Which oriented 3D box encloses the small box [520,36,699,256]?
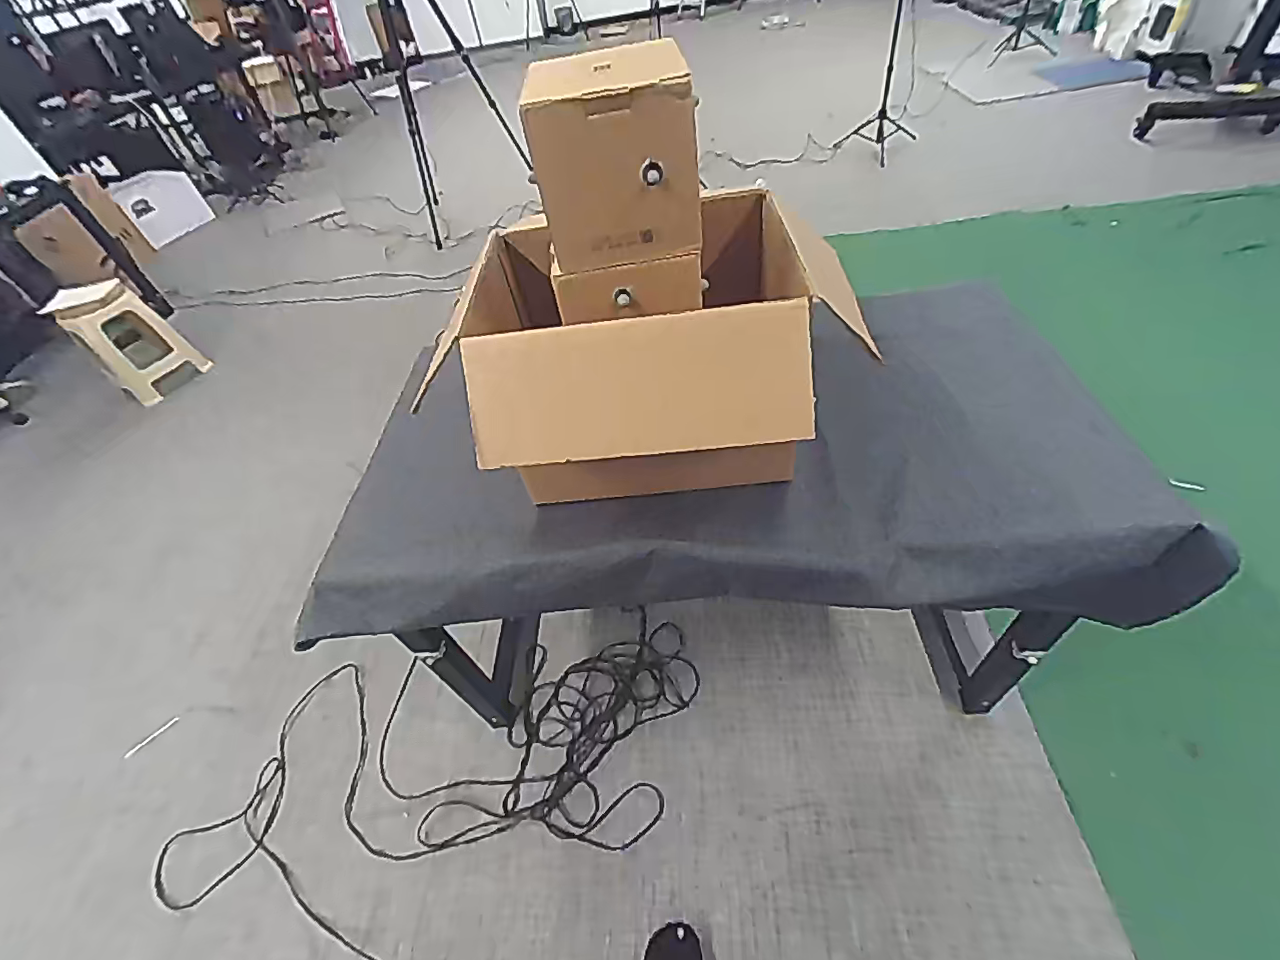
[{"bbox_3d":[-0.027,-0.369,0.612,0.168,0.176,0.179,-7,47,2],"label":"small box"}]
